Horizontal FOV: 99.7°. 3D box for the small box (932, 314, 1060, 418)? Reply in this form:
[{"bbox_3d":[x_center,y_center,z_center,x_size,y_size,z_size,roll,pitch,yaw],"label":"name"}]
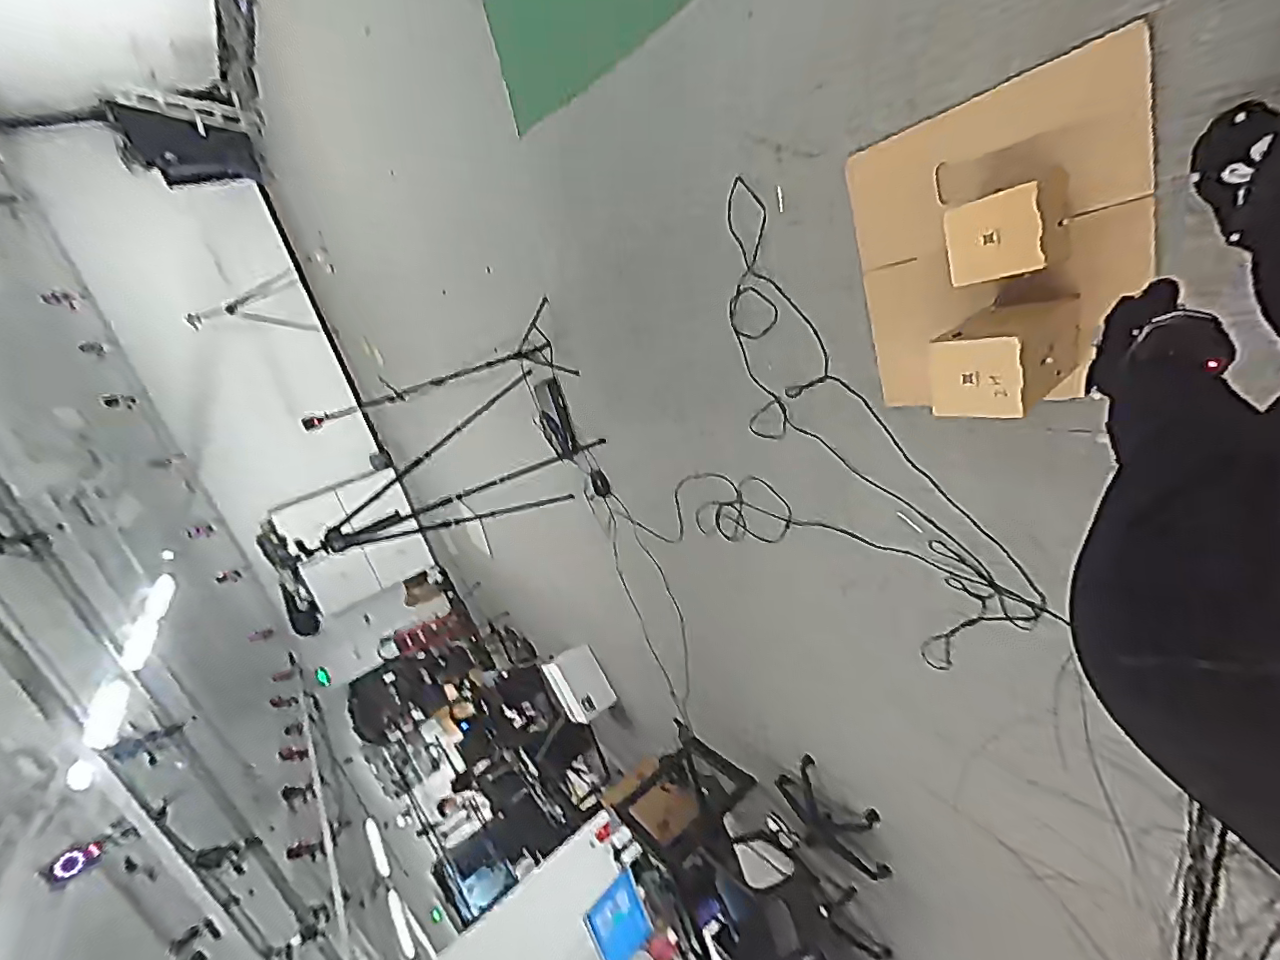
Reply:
[{"bbox_3d":[0.749,-0.239,1.138,0.179,0.176,0.168,10,123,53],"label":"small box"}]

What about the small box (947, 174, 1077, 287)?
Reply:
[{"bbox_3d":[0.798,-0.532,1.160,0.179,0.176,0.168,3,116,55],"label":"small box"}]
